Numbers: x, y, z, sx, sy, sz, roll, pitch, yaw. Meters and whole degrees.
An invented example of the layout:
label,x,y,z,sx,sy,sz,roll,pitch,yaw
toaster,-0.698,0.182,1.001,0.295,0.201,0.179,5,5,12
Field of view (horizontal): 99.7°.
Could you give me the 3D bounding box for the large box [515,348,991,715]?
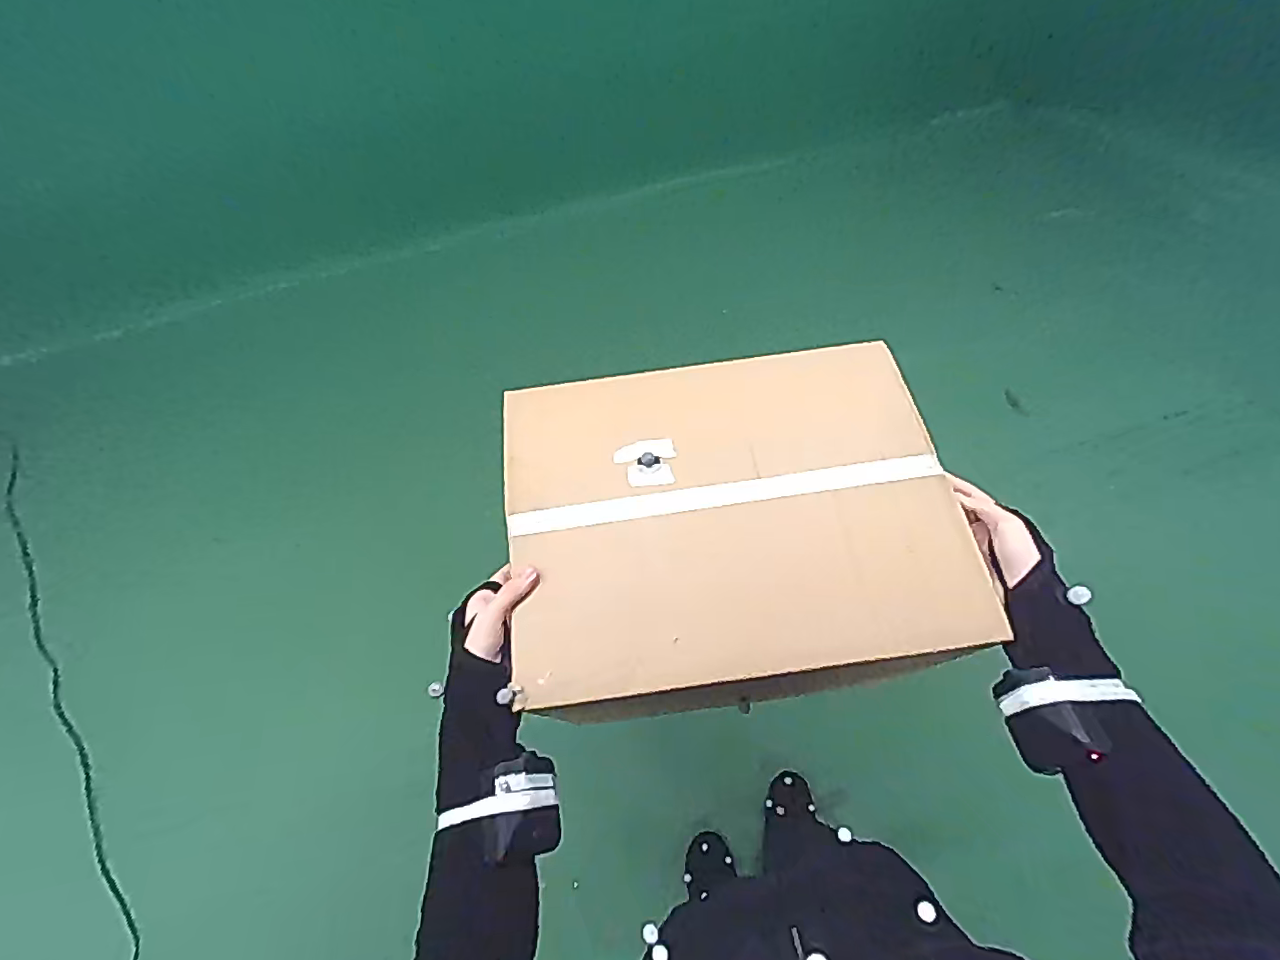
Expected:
label,x,y,z,sx,sy,sz,roll,pitch,yaw
large box,0.093,0.086,0.649,0.408,0.320,0.320,-8,63,1
